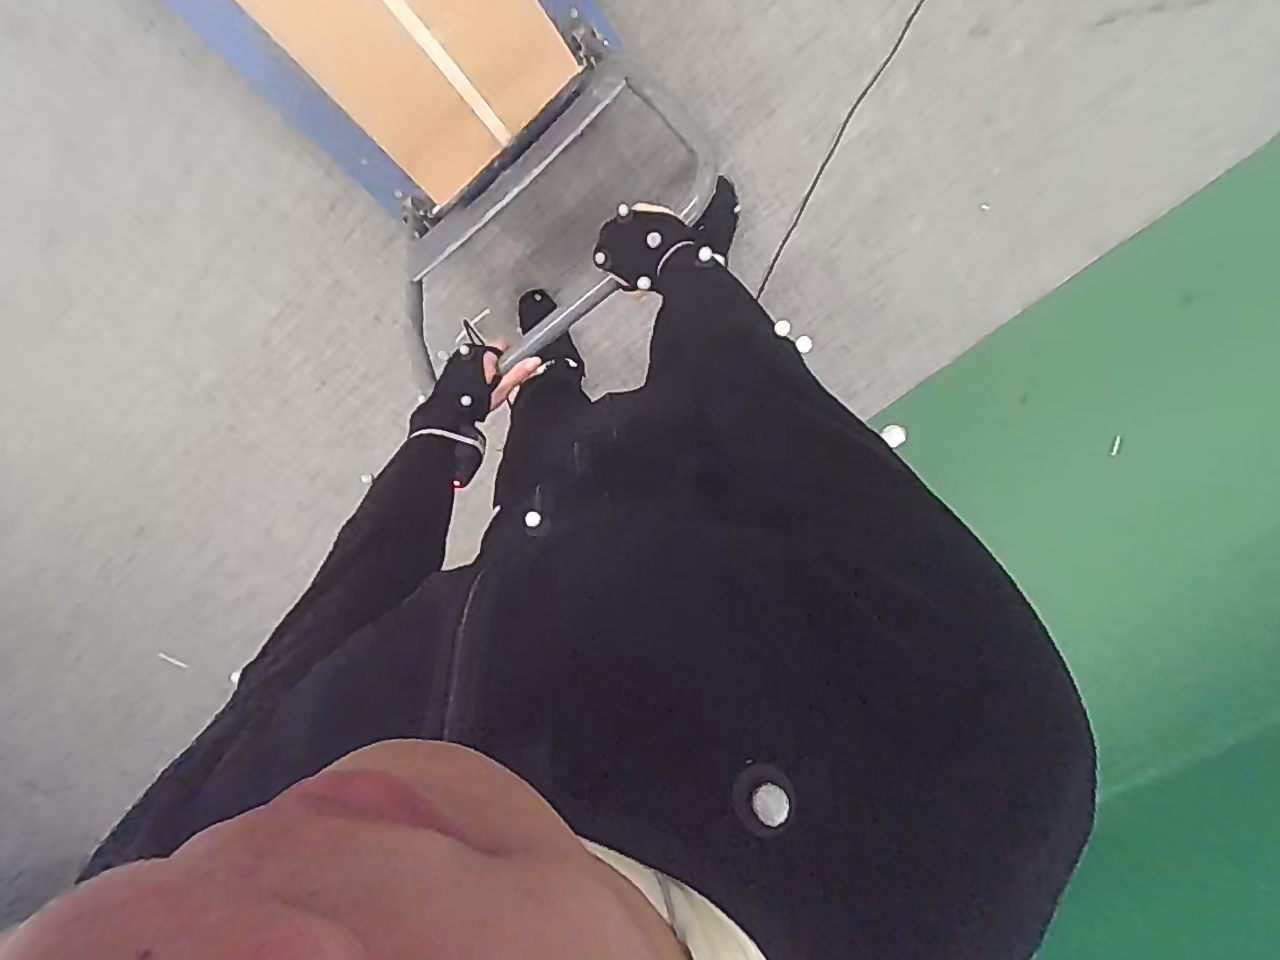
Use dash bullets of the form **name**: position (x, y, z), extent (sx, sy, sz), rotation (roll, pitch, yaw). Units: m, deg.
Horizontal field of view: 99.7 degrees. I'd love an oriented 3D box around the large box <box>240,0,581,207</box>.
- **large box**: position (-0.351, -0.745, 0.865), extent (0.320, 0.320, 0.408), rotation (-35, 133, 16)
